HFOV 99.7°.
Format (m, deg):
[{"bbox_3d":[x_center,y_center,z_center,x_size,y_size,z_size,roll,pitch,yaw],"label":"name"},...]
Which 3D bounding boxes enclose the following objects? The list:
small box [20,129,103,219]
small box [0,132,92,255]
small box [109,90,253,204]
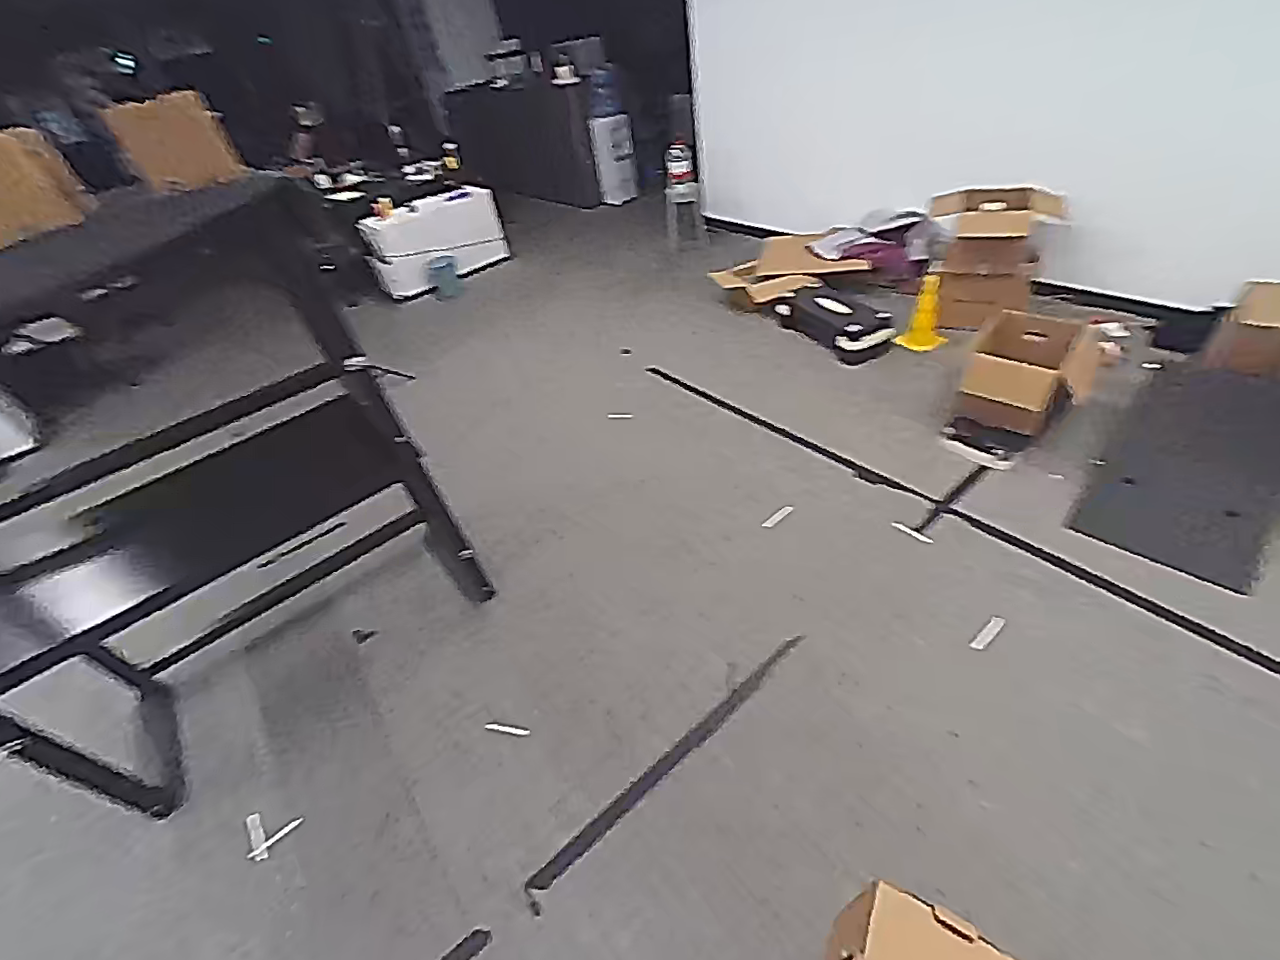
[{"bbox_3d":[-1.351,-0.662,1.199,0.168,0.176,0.179,-34,45,-24],"label":"small box"},{"bbox_3d":[-1.205,-0.542,1.029,0.168,0.176,0.179,-33,43,-23],"label":"small box"},{"bbox_3d":[-0.947,-0.692,1.133,0.168,0.176,0.179,-32,41,-21],"label":"small box"}]
